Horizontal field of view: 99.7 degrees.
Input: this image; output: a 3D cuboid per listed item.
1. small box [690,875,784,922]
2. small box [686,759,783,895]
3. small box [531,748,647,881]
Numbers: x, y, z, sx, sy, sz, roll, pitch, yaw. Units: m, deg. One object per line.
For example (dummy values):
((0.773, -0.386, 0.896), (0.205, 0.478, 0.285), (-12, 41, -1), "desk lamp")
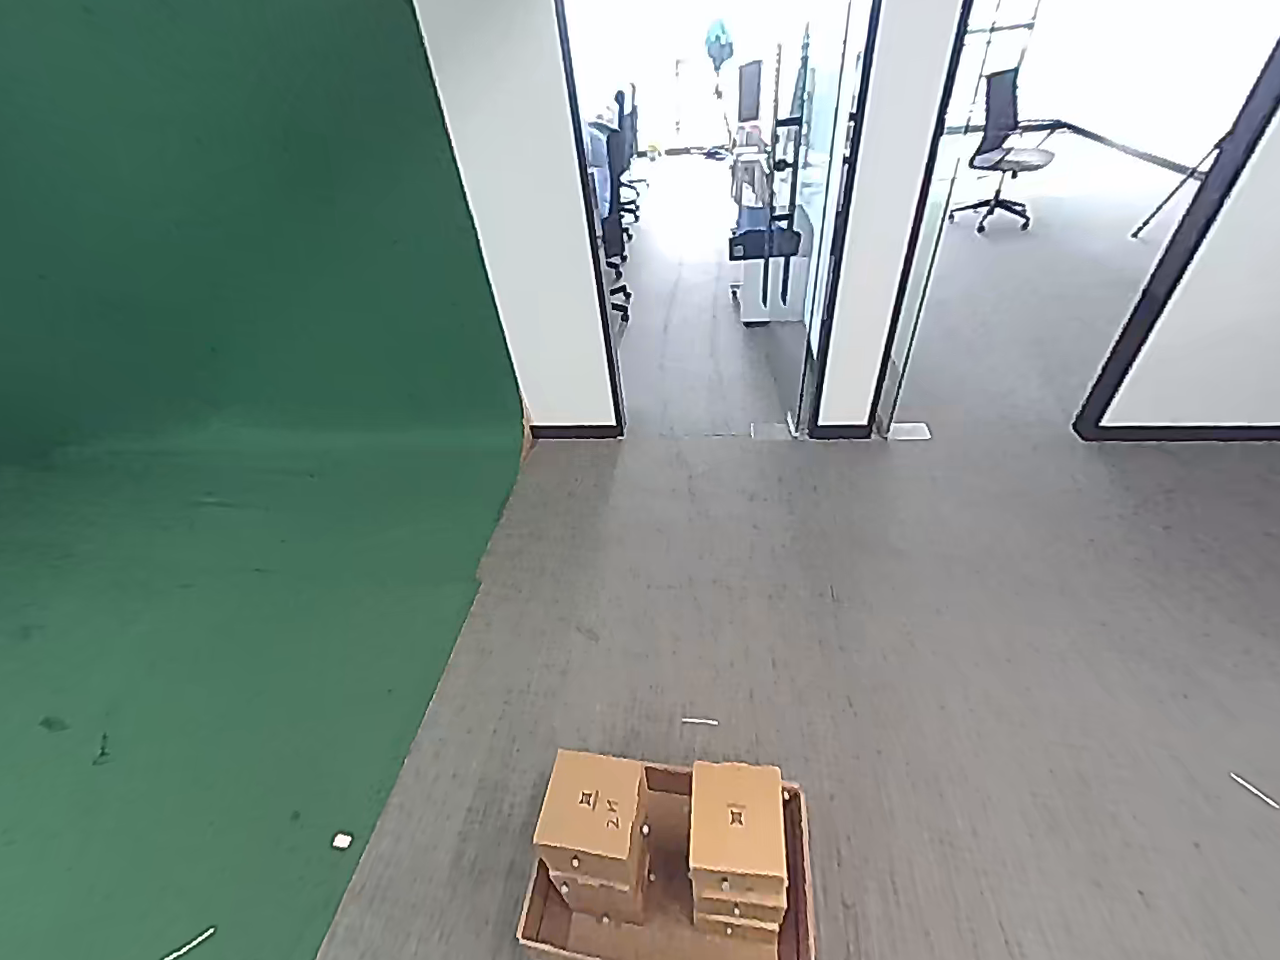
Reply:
((0.199, 0.785, 1.115), (0.179, 0.176, 0.168), (1, 43, 9), "small box")
((0.179, 0.655, 1.020), (0.168, 0.176, 0.179), (-1, 42, 9), "small box")
((-0.089, 0.650, 1.050), (0.179, 0.176, 0.168), (3, 41, 10), "small box")
